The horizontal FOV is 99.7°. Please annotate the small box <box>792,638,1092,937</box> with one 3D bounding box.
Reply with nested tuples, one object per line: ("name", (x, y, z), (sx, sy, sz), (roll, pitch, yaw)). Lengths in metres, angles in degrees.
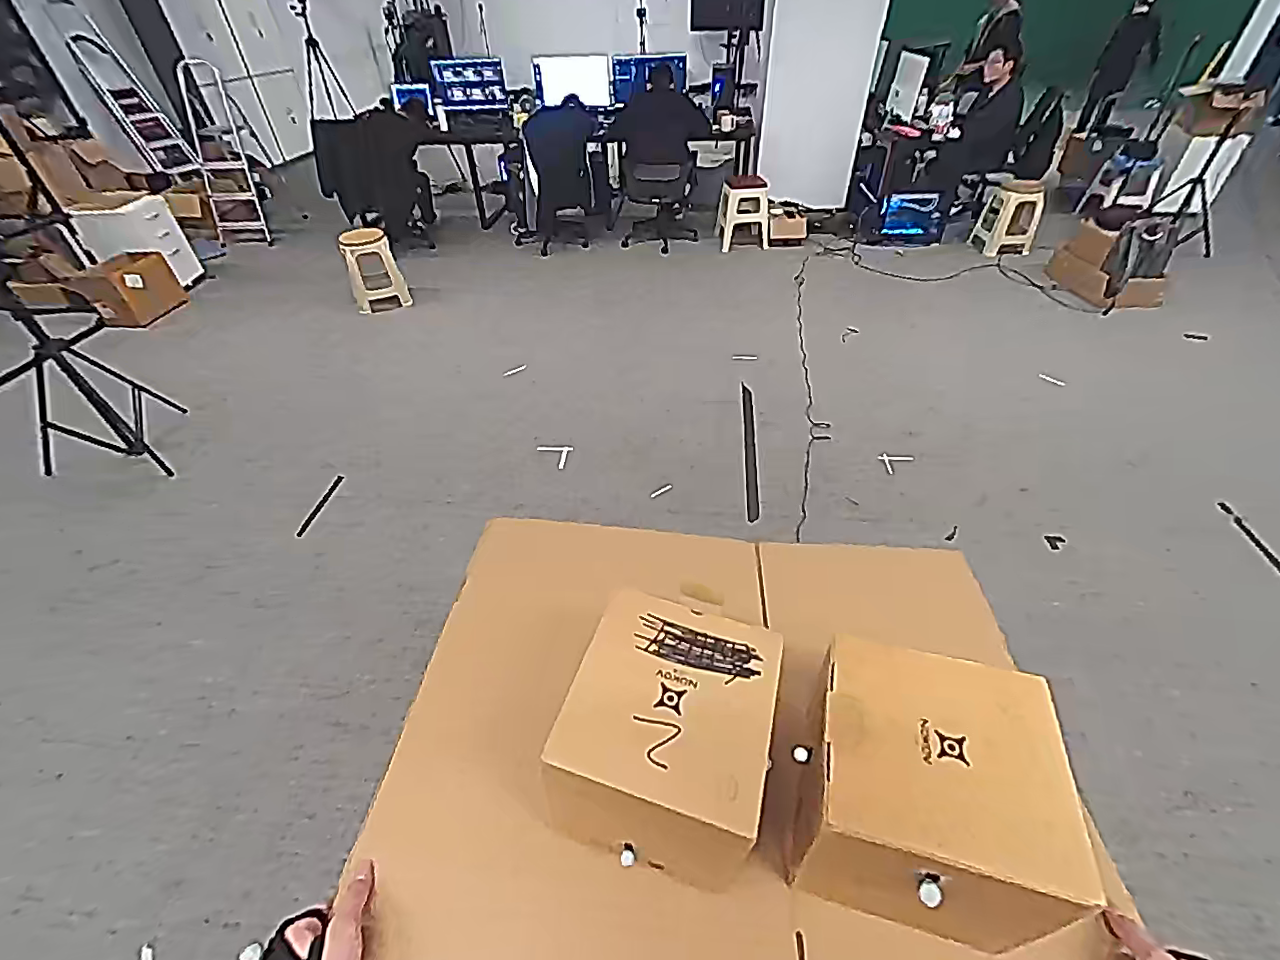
("small box", (0.244, 0.274, 0.485), (0.179, 0.176, 0.168), (9, 43, 15))
